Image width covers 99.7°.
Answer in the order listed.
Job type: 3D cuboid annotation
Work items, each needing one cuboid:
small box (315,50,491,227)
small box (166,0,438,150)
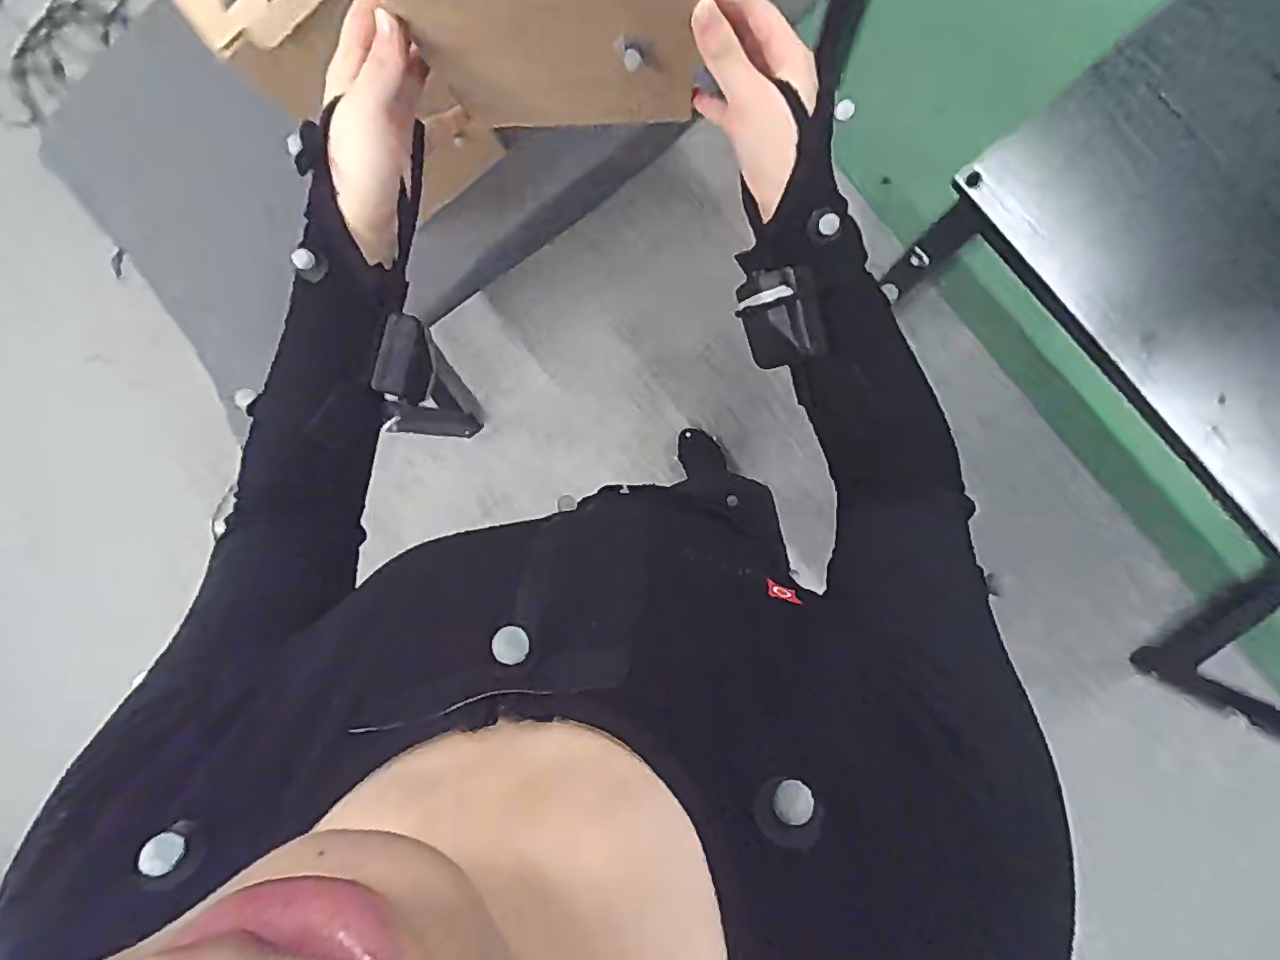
[{"bbox_3d":[-0.318,-0.475,0.702,0.179,0.176,0.168,-37,86,8],"label":"small box"},{"bbox_3d":[-0.341,-0.474,0.538,0.168,0.176,0.179,-40,84,7],"label":"small box"}]
